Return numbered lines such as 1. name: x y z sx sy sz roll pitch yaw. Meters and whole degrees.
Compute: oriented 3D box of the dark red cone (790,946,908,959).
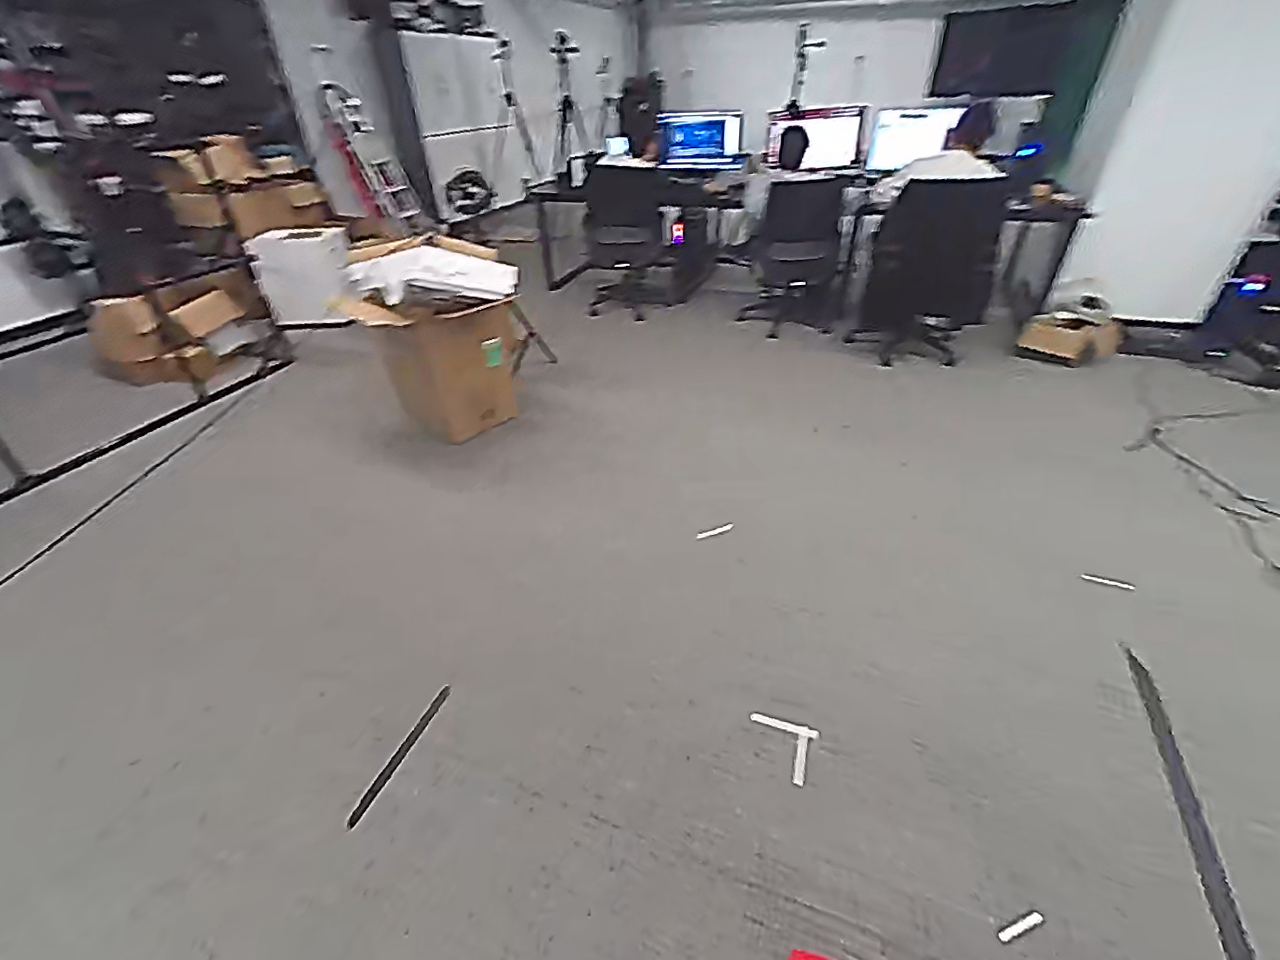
1. dark red cone: 0.364 0.839 0.863 0.201 0.394 0.202 8 38 12
